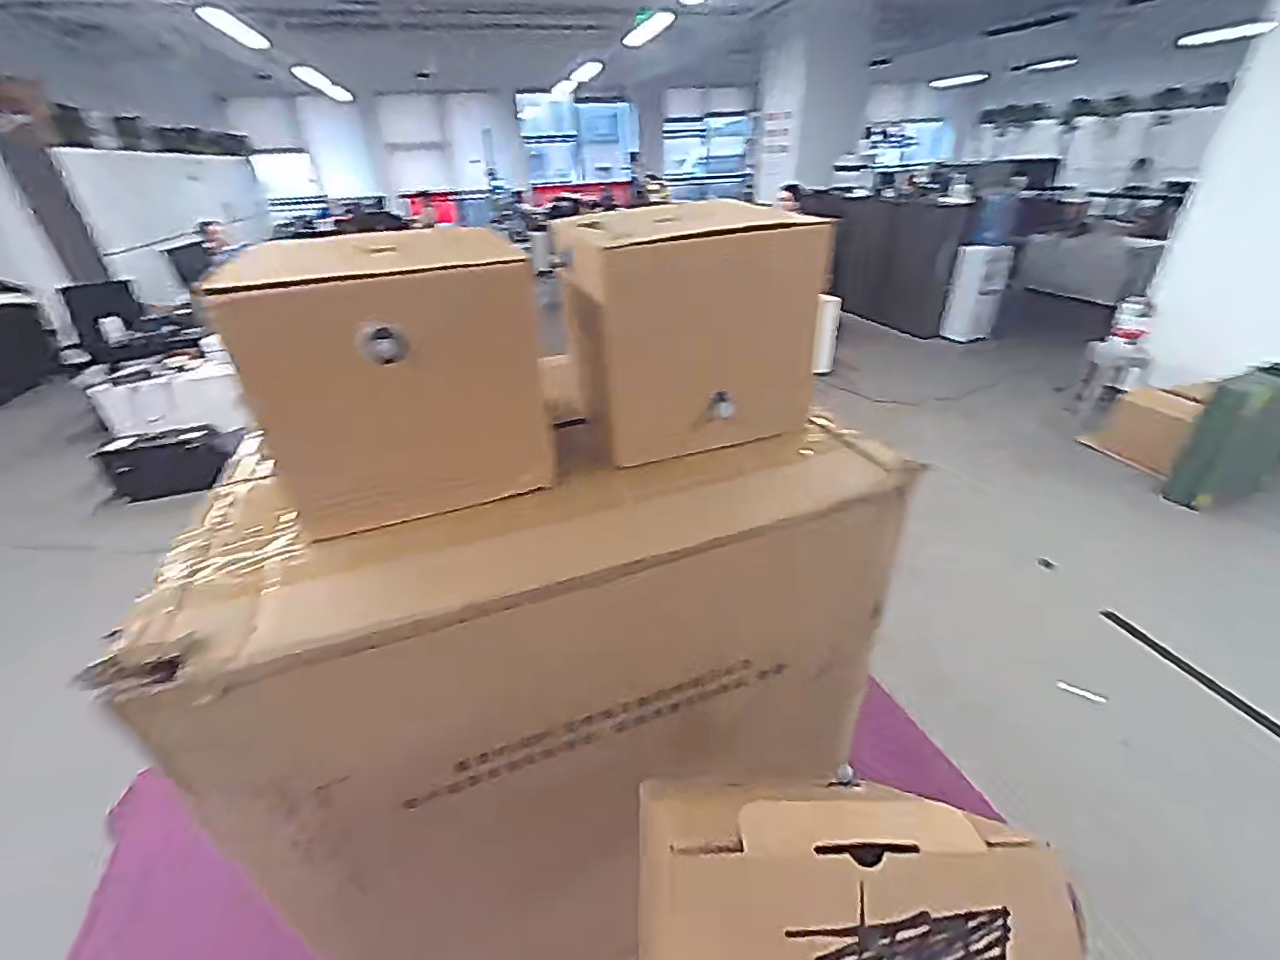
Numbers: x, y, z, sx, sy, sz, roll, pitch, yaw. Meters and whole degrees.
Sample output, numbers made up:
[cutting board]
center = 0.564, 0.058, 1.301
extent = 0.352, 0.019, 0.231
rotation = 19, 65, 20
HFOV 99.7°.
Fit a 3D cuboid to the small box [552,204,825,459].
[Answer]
[small box]
center = 0.031, -0.138, 0.475
extent = 0.179, 0.176, 0.168
rotation = -13, 32, -15
